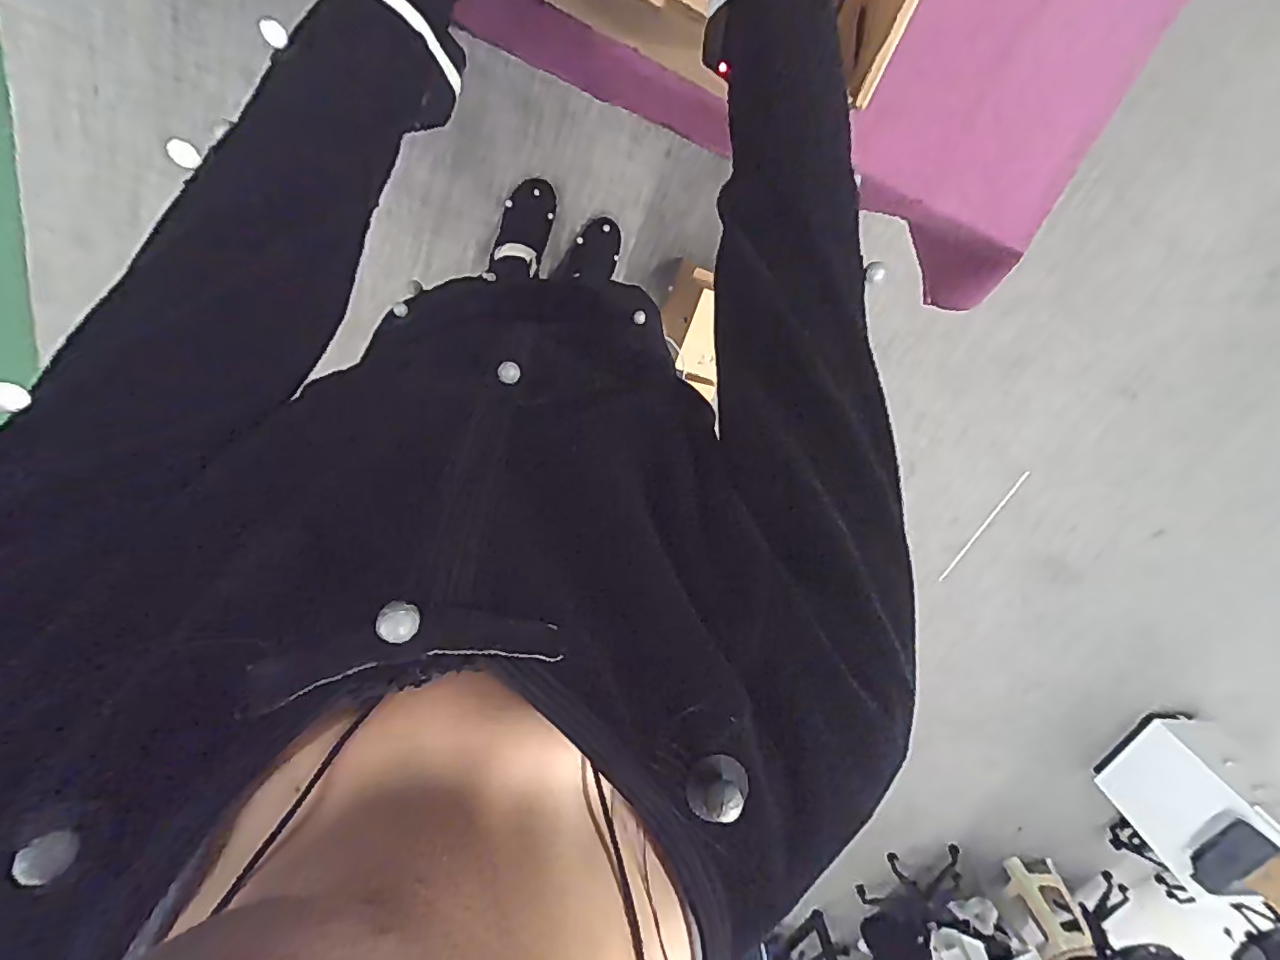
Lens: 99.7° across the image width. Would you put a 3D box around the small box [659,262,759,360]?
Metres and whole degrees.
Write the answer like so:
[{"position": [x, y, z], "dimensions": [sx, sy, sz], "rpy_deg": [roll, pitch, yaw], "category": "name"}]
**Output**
[{"position": [0.162, -0.424, 1.341], "dimensions": [0.179, 0.176, 0.168], "rpy_deg": [16, 117, -15], "category": "small box"}]
